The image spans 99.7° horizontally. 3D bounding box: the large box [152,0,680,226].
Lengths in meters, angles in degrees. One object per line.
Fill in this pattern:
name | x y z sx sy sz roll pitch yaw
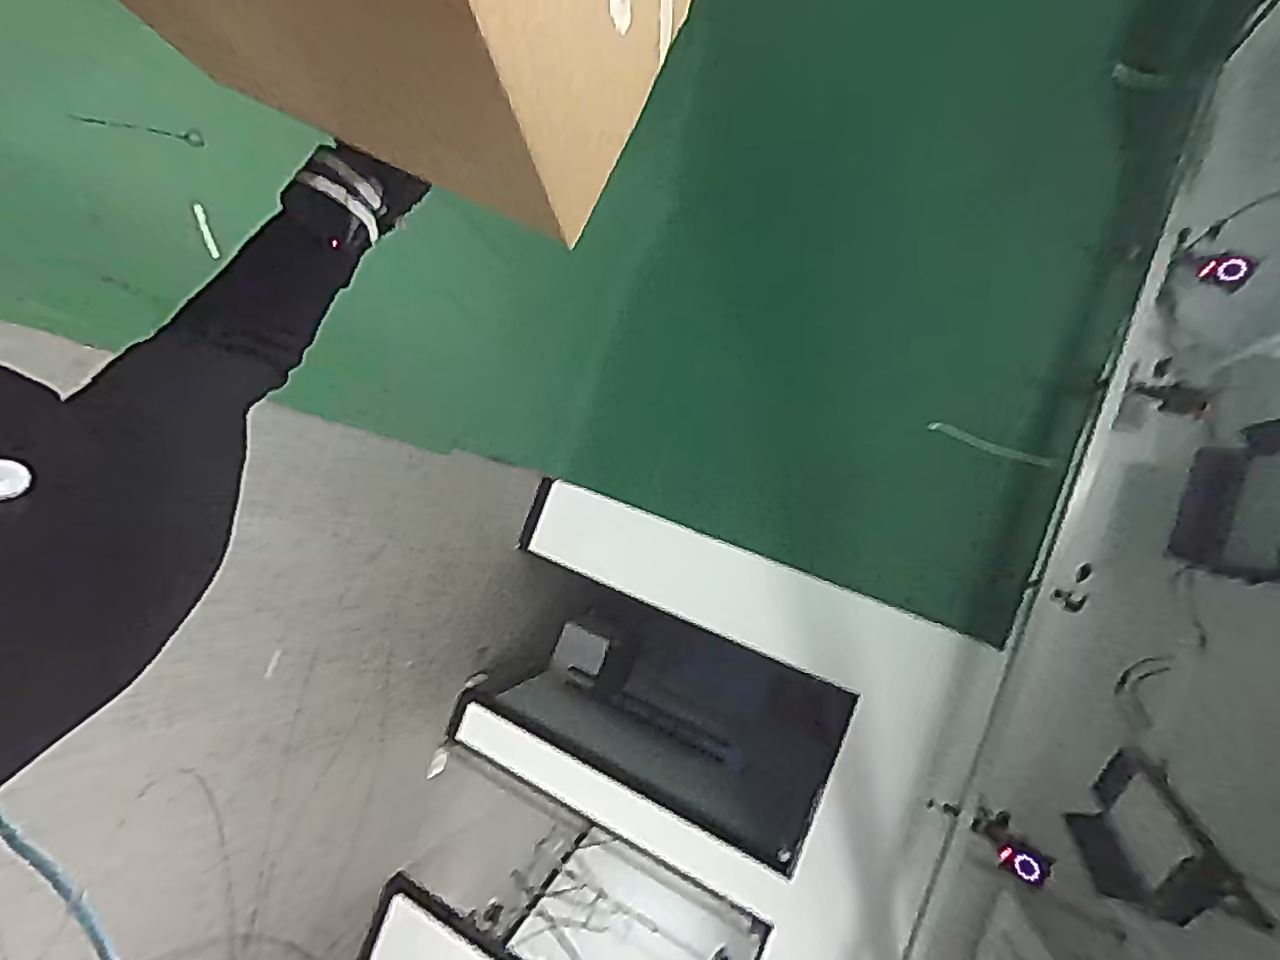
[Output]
large box | -0.134 -0.388 0.222 0.320 0.320 0.408 -64 180 2
